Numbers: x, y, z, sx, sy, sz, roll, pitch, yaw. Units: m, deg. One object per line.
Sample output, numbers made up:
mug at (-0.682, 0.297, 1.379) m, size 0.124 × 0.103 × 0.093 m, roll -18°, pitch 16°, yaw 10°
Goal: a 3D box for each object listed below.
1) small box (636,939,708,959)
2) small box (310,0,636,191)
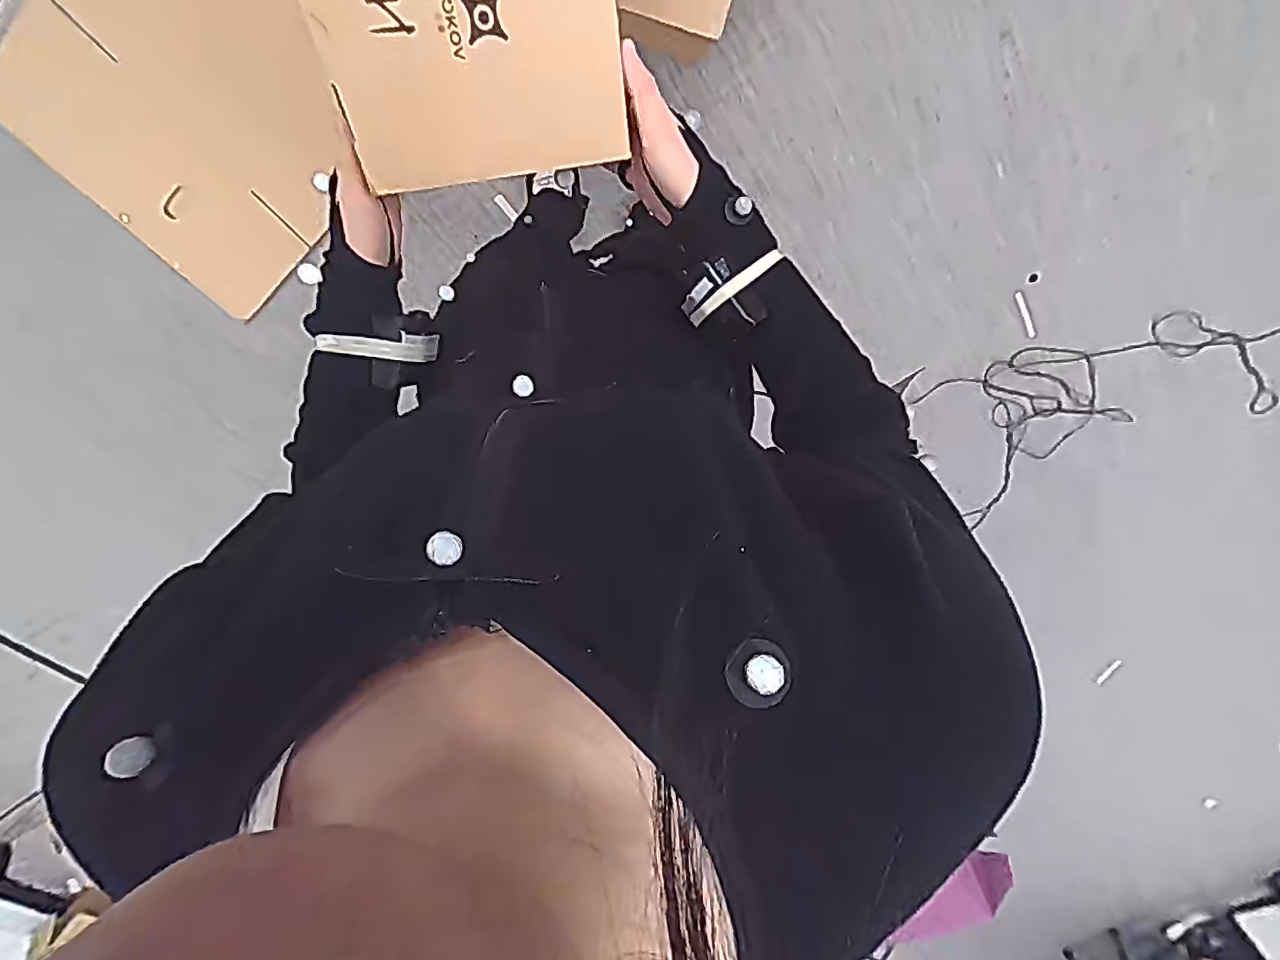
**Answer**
small box at (0.100, 1.480, 1.573) m, size 0.168 × 0.176 × 0.179 m, roll -31°, pitch 116°, yaw 16°
small box at (-0.111, -0.314, 0.372) m, size 0.179 × 0.176 × 0.168 m, roll -12°, pitch 128°, yaw -6°
